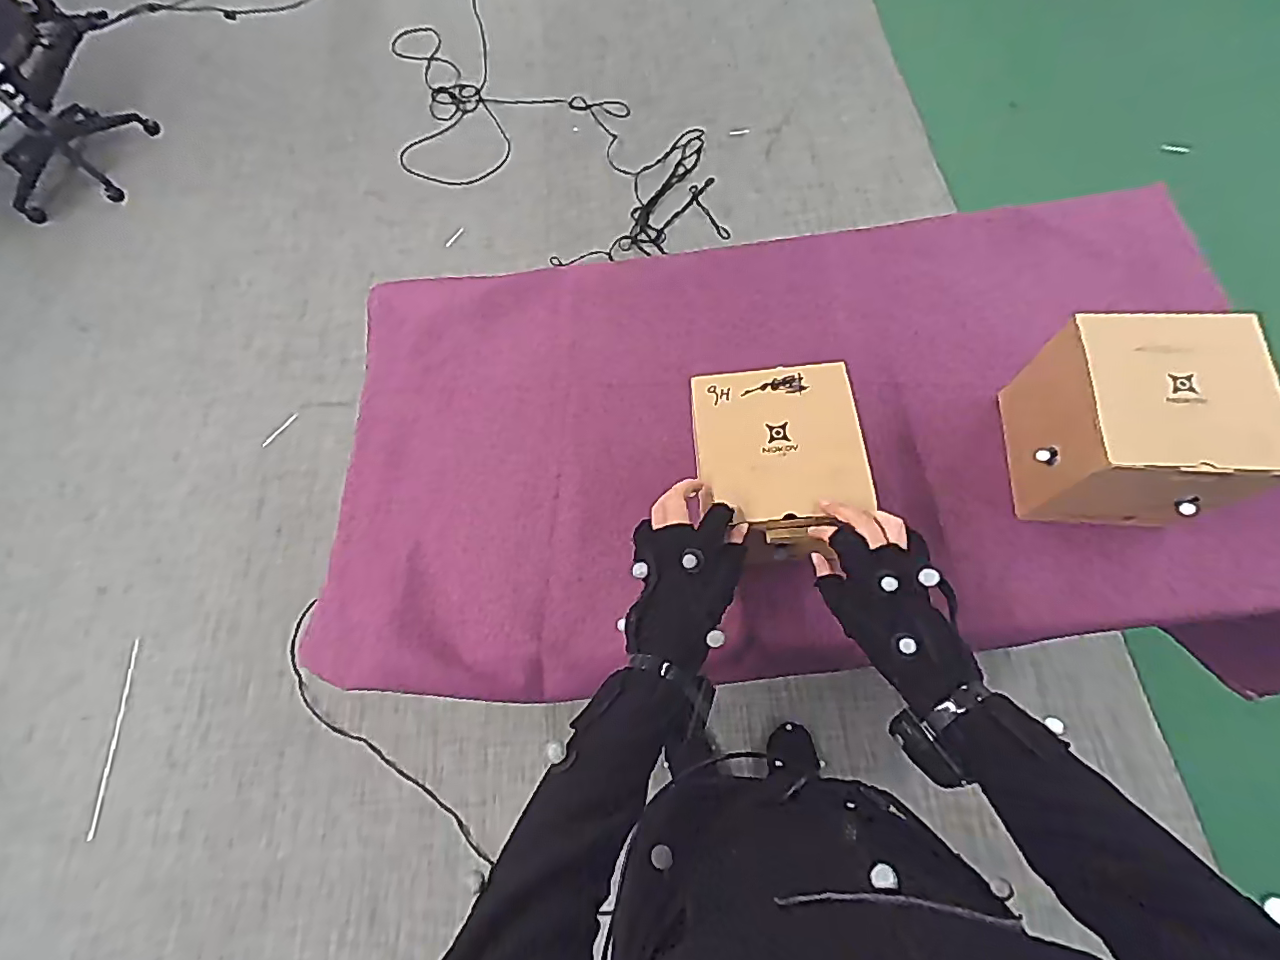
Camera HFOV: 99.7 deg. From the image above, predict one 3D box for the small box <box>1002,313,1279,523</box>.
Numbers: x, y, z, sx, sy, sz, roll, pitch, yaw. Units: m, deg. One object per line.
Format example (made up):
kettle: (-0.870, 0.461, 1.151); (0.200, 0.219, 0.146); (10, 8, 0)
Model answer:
small box: (0.533, -0.059, 0.594); (0.168, 0.176, 0.179); (3, 69, 9)

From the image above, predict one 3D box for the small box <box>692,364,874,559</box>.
small box: (0.151, -0.009, 0.626); (0.168, 0.176, 0.179); (-5, 69, 5)
